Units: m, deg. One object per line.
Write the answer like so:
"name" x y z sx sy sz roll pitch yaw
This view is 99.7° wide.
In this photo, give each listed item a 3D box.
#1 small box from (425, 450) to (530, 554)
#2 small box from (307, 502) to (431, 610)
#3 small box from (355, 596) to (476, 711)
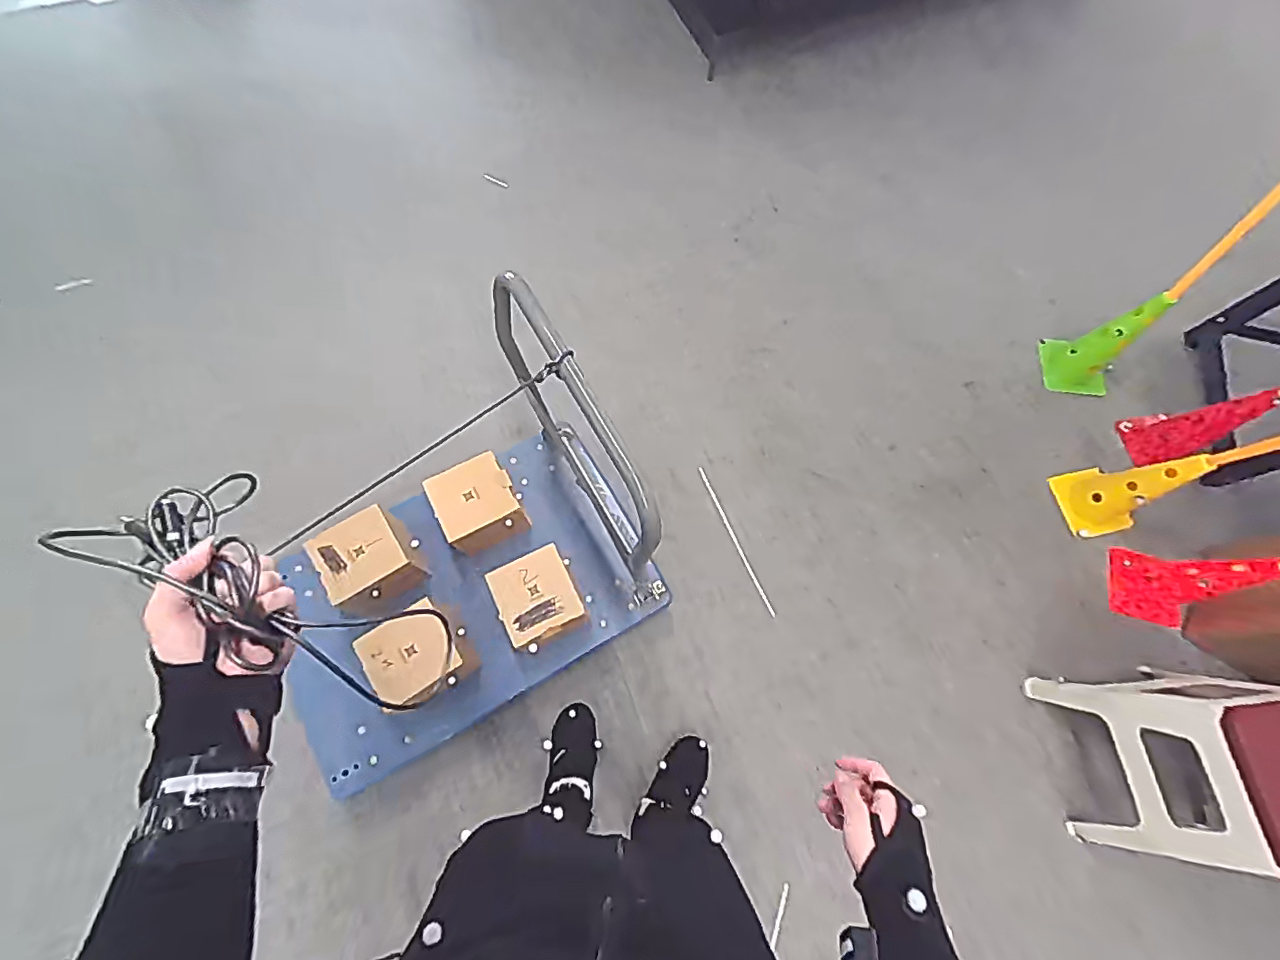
"small box" -0.386 0.059 1.310 0.179 0.176 0.168 -27 73 -11
"small box" -0.619 0.183 1.253 0.179 0.176 0.168 -31 75 -14
"small box" -0.478 0.380 1.188 0.179 0.176 0.168 -32 74 -13
